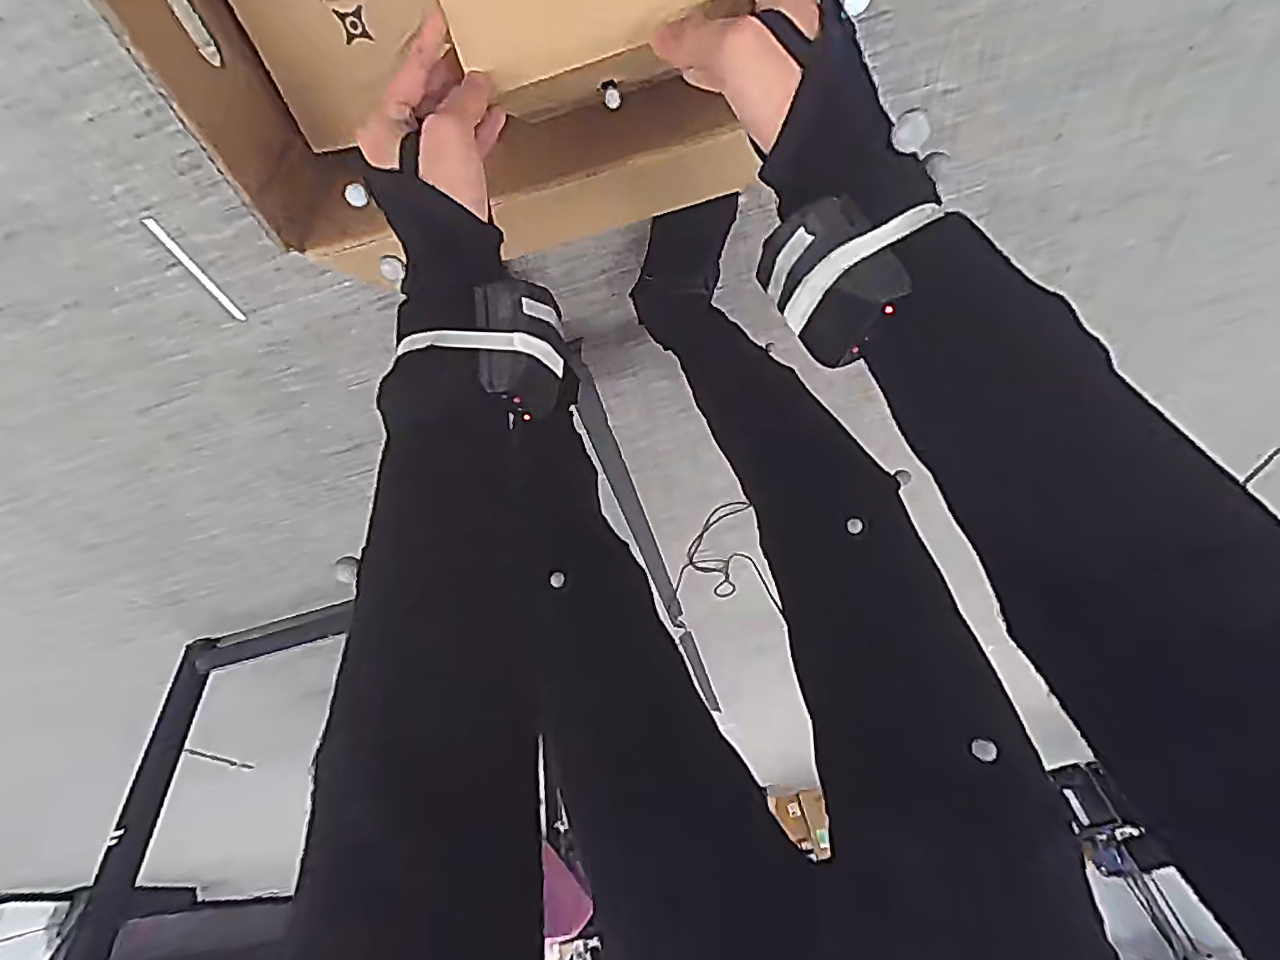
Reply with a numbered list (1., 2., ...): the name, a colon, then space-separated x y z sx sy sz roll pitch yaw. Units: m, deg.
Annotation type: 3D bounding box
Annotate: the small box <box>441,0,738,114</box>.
1. small box: -0.040 -0.355 0.345 0.168 0.176 0.179 -12 119 7
